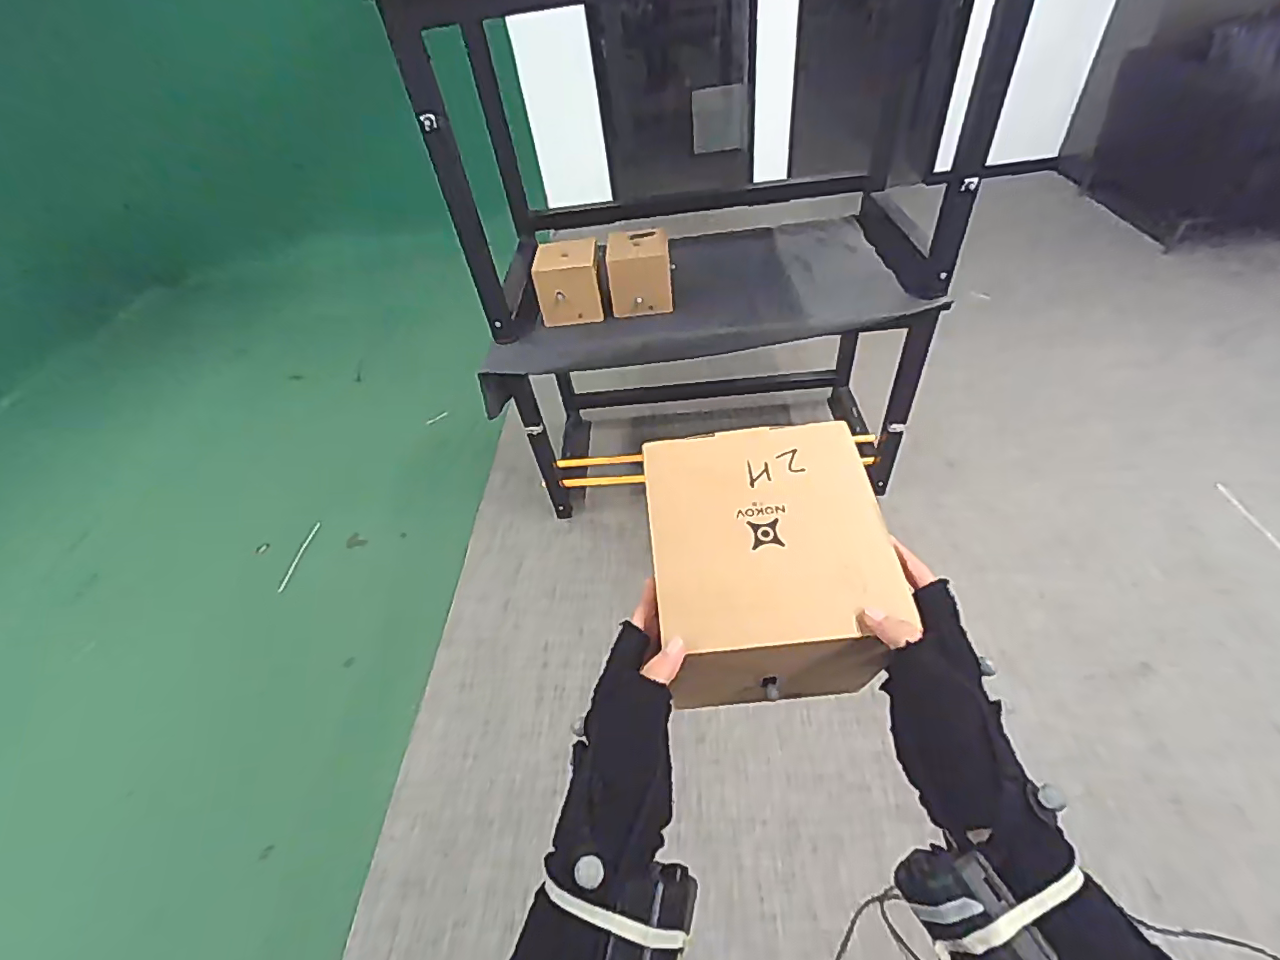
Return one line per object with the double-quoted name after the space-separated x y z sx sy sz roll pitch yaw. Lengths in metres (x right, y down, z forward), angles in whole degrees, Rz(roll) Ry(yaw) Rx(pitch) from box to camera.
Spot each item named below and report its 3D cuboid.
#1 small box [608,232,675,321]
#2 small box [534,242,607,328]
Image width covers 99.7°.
0.008 -0.566 1.508 0.168 0.176 0.179 -5 46 6 "small box"
-0.187 -0.540 1.516 0.168 0.176 0.179 -5 45 4 "small box"
